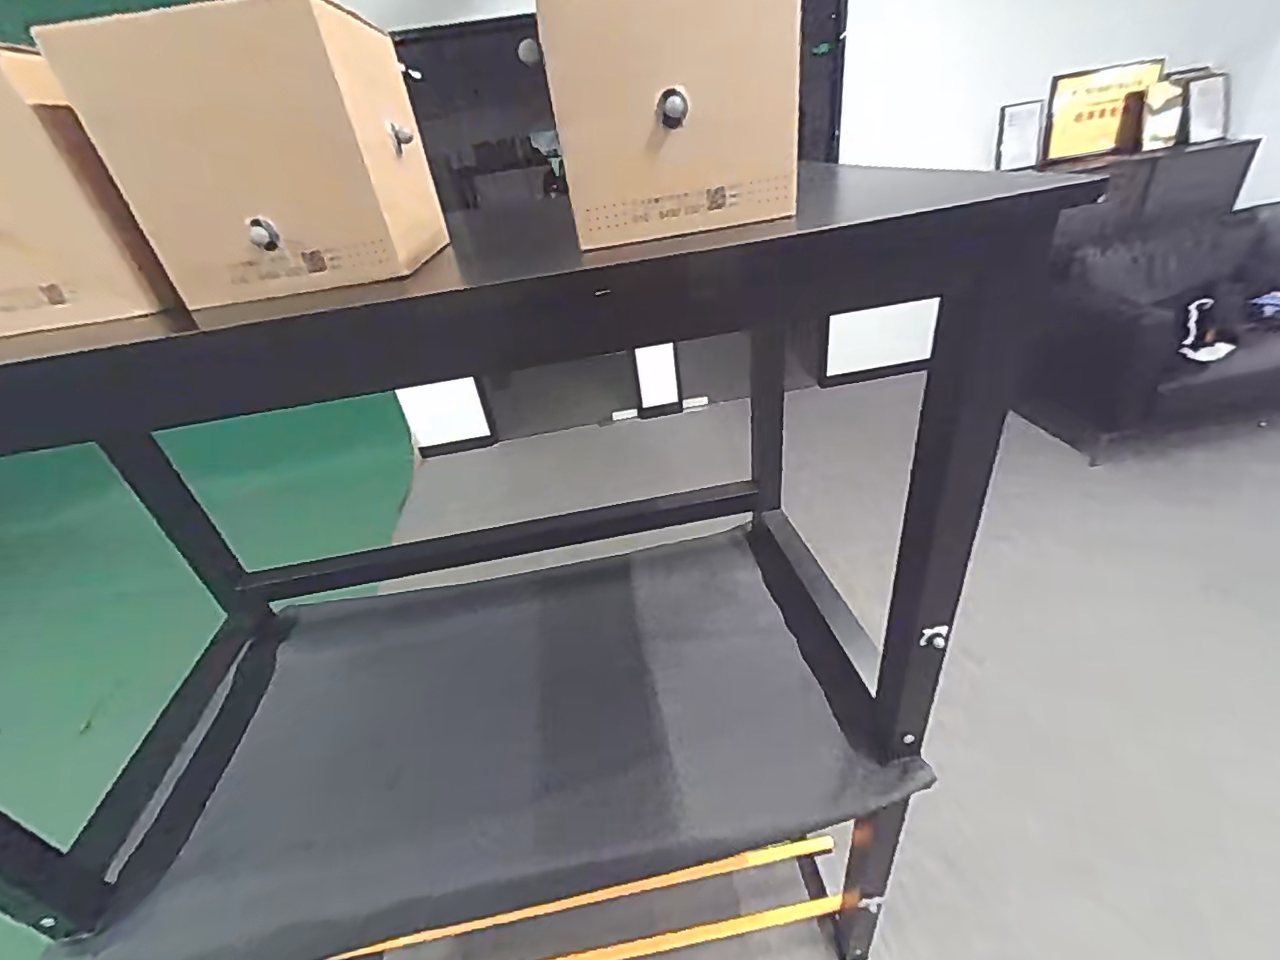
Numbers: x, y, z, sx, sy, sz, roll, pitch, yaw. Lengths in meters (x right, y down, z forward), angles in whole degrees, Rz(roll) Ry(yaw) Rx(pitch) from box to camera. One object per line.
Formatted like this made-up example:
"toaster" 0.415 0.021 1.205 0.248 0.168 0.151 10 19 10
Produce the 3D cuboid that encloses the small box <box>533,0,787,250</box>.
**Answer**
"small box" 0.015 -0.292 0.436 0.168 0.176 0.179 -10 32 -2

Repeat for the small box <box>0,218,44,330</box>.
"small box" -0.658 -0.183 0.430 0.168 0.176 0.179 -10 33 -2
